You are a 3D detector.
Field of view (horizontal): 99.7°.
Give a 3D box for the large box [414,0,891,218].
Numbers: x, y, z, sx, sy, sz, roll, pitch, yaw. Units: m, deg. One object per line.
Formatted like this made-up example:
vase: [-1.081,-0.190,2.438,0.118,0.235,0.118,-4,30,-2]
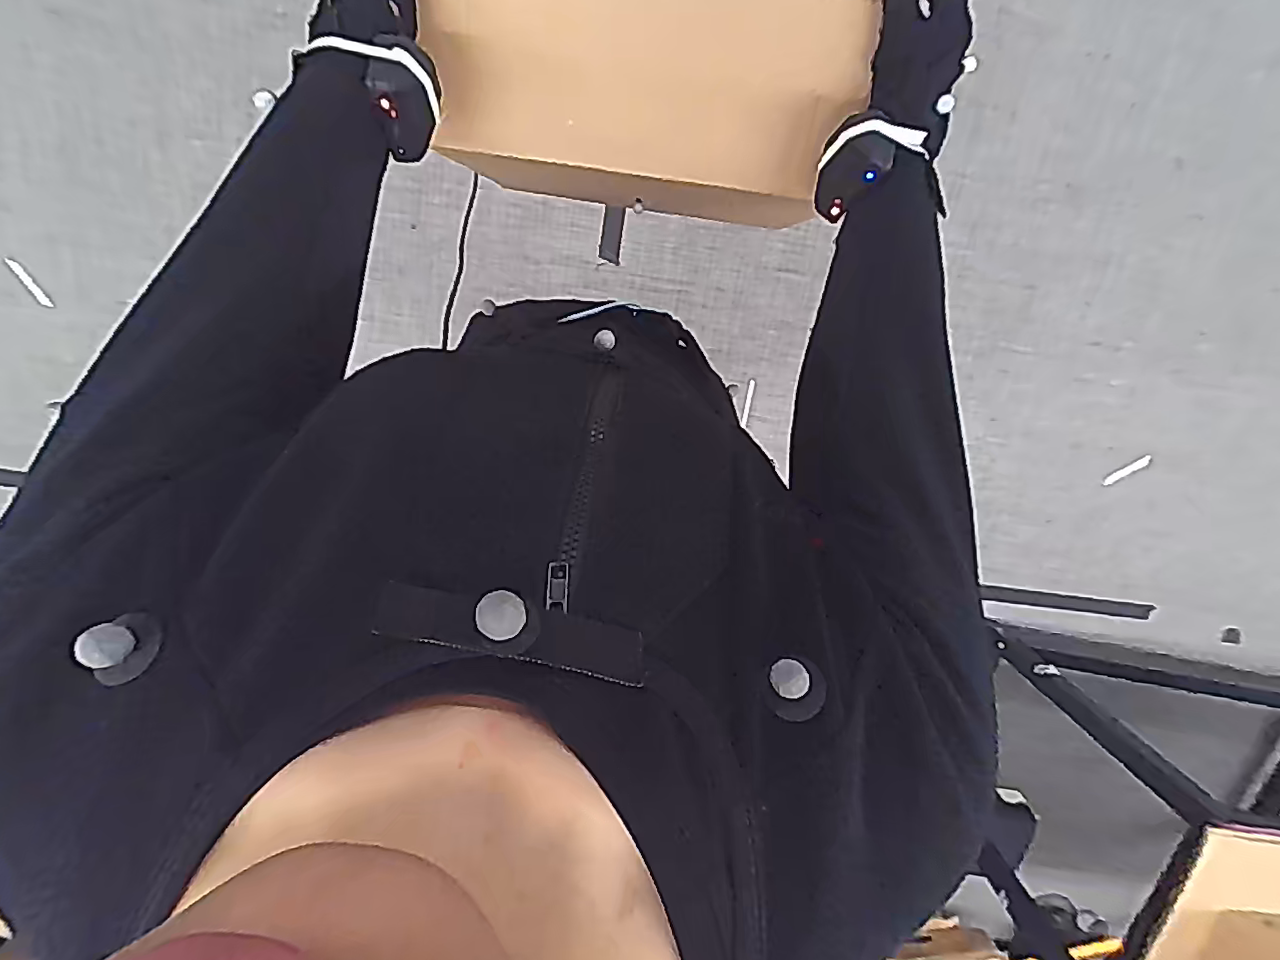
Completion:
large box: [0.021,-0.482,0.578,0.408,0.320,0.320,9,110,-1]
